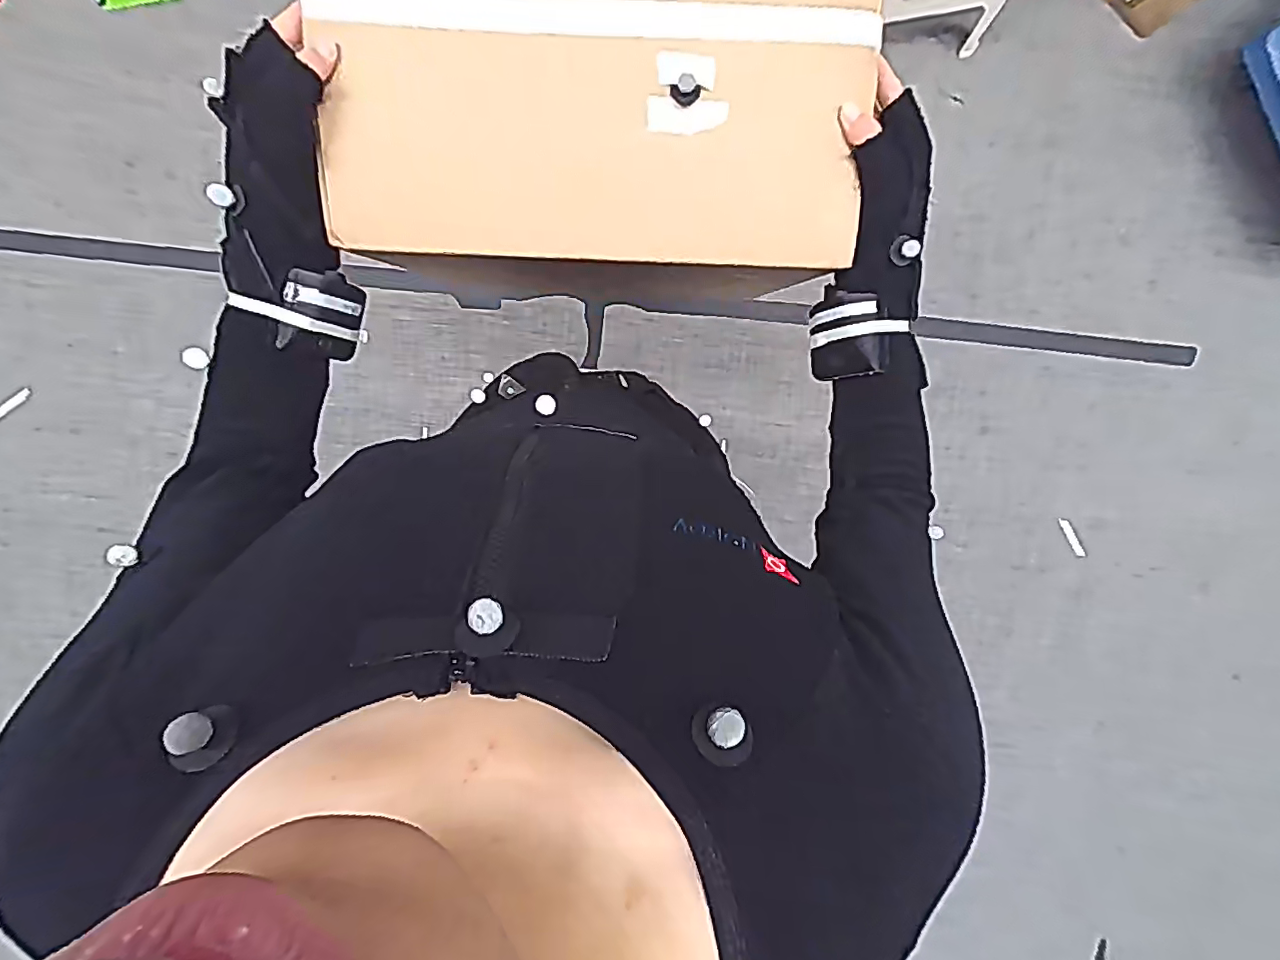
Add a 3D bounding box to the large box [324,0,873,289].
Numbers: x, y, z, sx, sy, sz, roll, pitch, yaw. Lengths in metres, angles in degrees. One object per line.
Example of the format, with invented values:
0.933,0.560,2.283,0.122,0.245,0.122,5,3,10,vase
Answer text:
-0.033,-0.369,0.535,0.408,0.320,0.320,1,105,-2,large box
